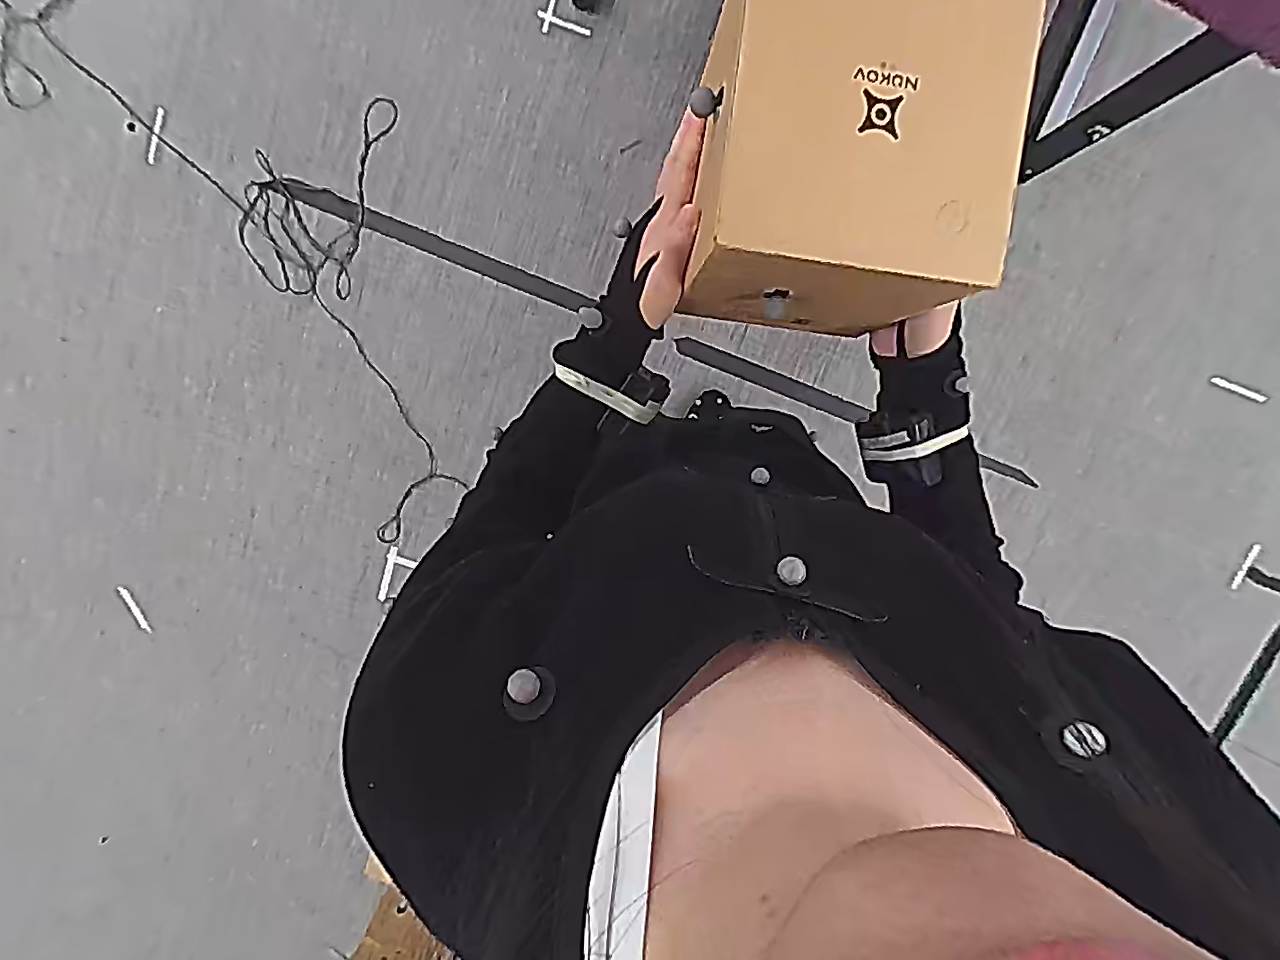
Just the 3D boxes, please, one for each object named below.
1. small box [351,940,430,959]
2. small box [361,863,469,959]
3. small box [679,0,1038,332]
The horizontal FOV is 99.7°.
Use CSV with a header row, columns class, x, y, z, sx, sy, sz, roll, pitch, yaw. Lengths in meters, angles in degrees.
class,x,y,z,sx,sy,sz,roll,pitch,yaw
small box,-0.480,0.993,0.977,0.168,0.176,0.179,13,99,1
small box,-0.478,0.961,1.139,0.168,0.176,0.179,17,101,0
small box,0.125,-0.211,0.377,0.168,0.176,0.179,6,93,-5
